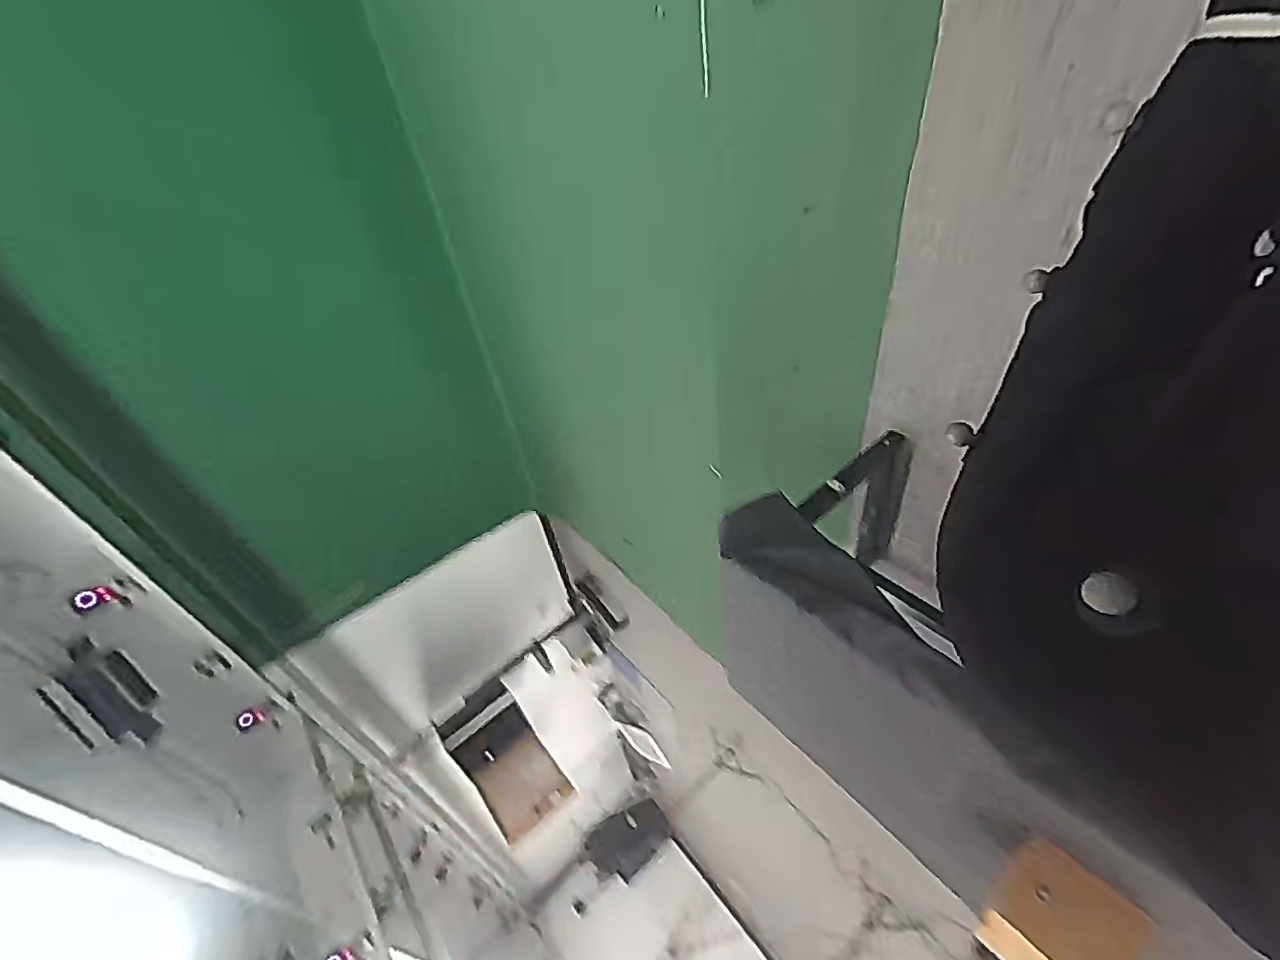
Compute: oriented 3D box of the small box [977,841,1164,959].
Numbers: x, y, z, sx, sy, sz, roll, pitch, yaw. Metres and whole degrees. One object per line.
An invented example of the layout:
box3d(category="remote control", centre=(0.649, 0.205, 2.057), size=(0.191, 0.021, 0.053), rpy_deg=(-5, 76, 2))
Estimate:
box3d(category="small box", centre=(0.707, 0.747, 0.901), size=(0.179, 0.176, 0.168), rpy_deg=(31, 146, 43))
